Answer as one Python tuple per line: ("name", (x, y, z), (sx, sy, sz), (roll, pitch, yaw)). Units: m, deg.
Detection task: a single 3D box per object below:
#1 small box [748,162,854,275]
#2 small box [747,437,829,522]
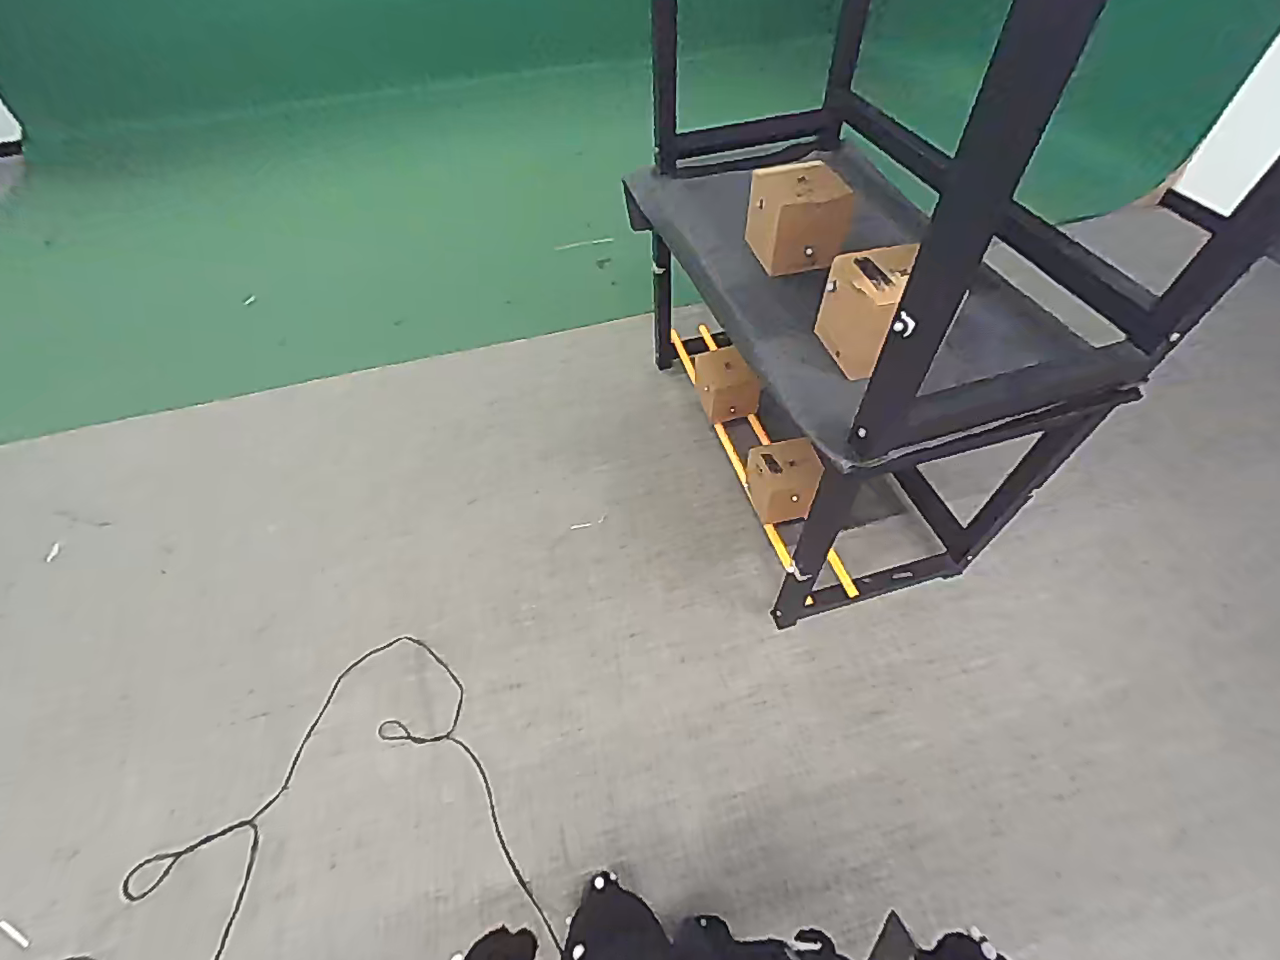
("small box", (0.359, -0.603, 1.250), (0.168, 0.176, 0.179), (-12, 53, -6))
("small box", (0.419, 0.003, 1.570), (0.179, 0.176, 0.168), (-11, 53, -5))
